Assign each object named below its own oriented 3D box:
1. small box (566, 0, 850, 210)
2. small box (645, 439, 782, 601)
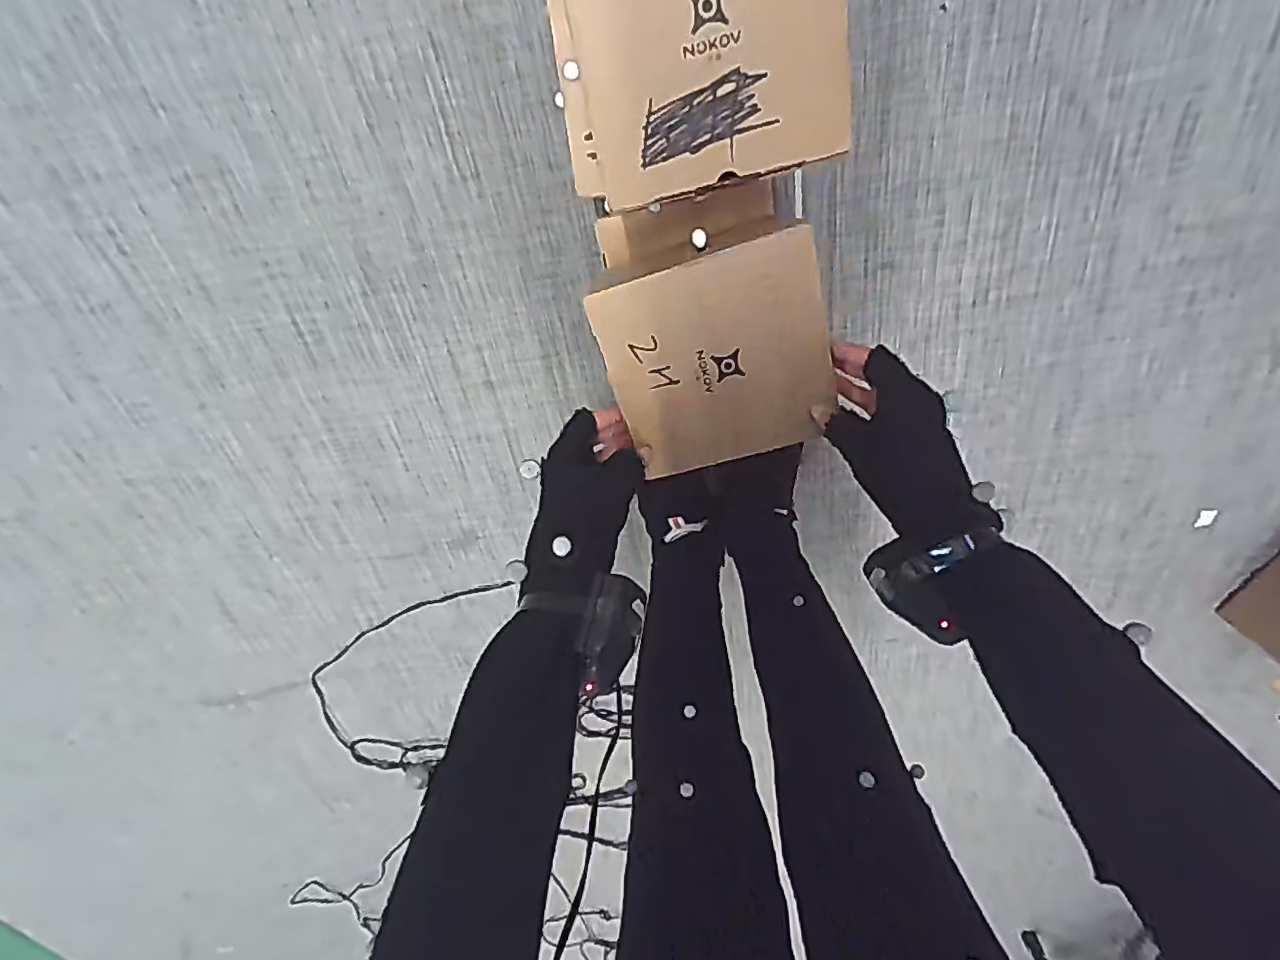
[{"bbox_3d":[0.043,-0.314,0.393,0.168,0.176,0.179,-11,118,7],"label":"small box"},{"bbox_3d":[0.103,0.057,0.832,0.168,0.176,0.179,-8,124,-6],"label":"small box"}]
